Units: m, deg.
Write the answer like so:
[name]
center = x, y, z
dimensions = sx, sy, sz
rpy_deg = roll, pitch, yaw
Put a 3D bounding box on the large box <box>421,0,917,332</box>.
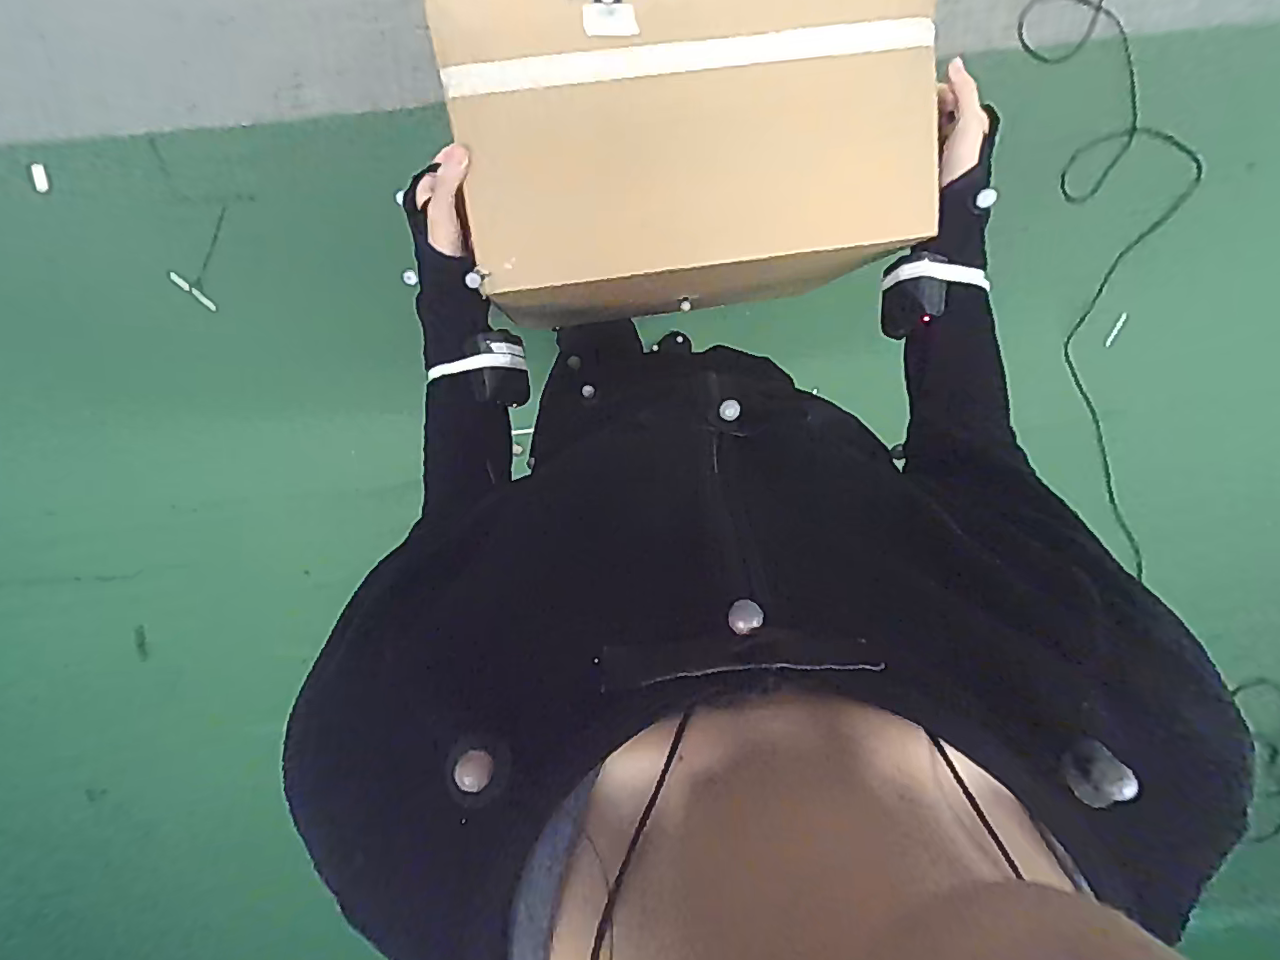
[large box]
center = 0.024, -0.363, 0.601
dimensions = 0.408, 0.320, 0.320
rpy_deg = -10, 100, -3
